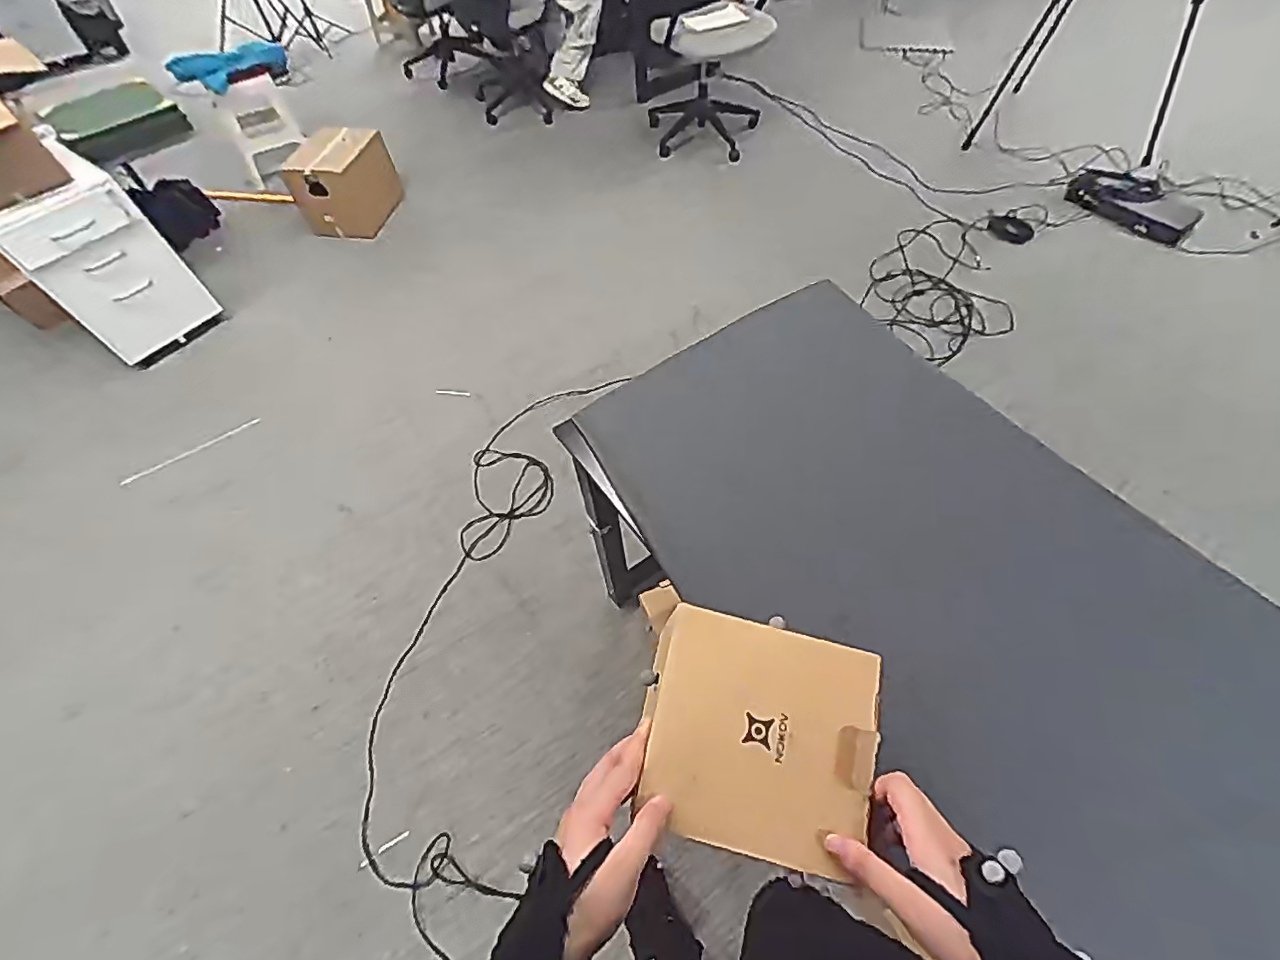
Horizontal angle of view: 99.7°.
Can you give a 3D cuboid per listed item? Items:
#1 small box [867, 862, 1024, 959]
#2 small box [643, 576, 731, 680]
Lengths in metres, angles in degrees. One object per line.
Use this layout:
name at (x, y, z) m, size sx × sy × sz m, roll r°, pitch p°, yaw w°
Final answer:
small box at (0.567, 0.862, 1.023) m, size 0.168 × 0.176 × 0.179 m, roll -27°, pitch 59°, yaw -13°
small box at (0.117, 0.382, 1.389) m, size 0.168 × 0.176 × 0.179 m, roll -21°, pitch 56°, yaw -10°
